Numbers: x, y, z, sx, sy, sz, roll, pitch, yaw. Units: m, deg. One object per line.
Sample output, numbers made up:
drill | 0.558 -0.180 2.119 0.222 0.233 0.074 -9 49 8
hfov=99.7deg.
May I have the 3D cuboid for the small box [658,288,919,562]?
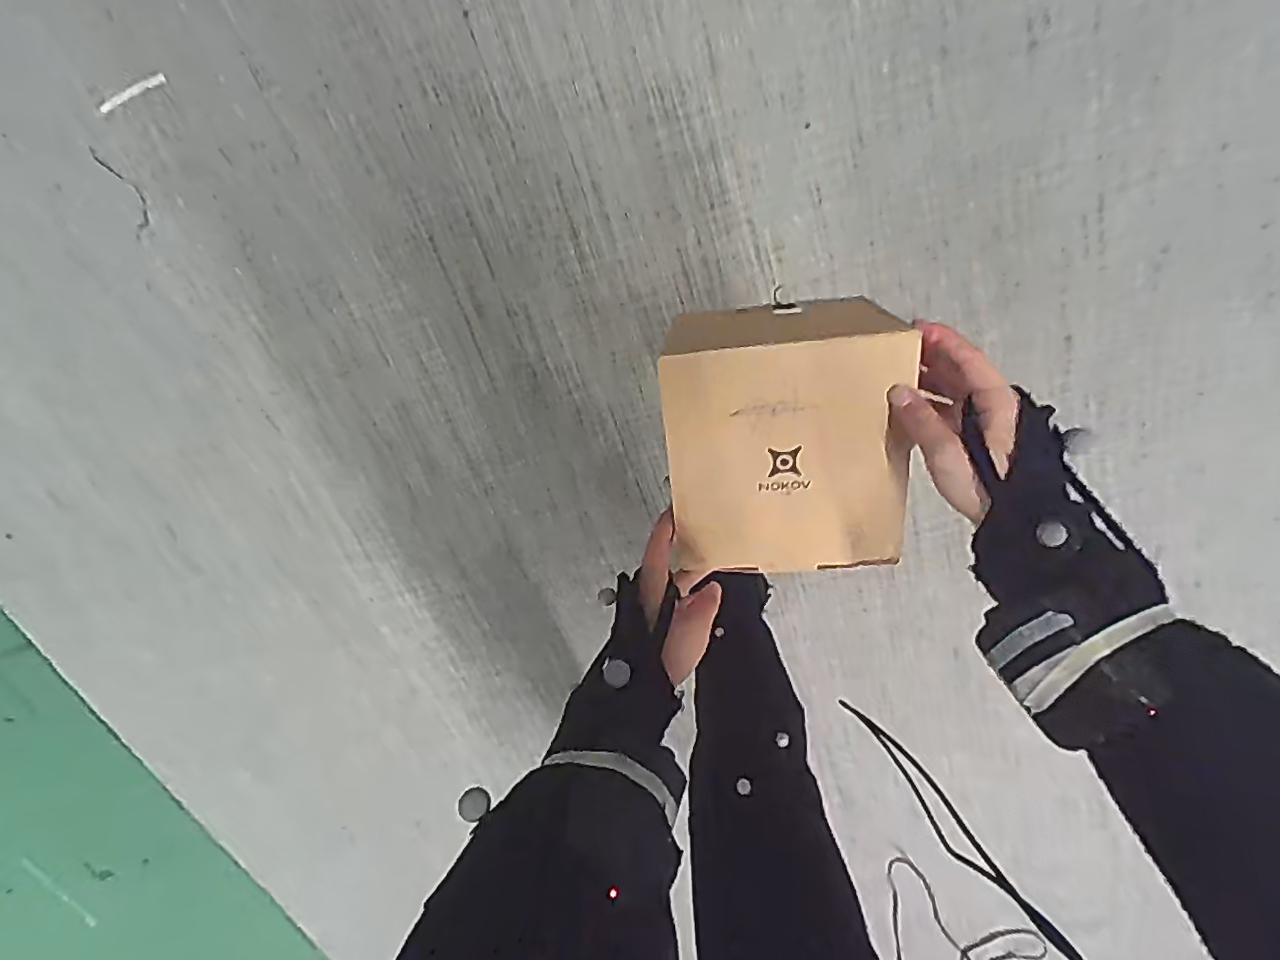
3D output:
small box | 0.111 -0.052 0.450 0.168 0.176 0.179 -4 114 9
